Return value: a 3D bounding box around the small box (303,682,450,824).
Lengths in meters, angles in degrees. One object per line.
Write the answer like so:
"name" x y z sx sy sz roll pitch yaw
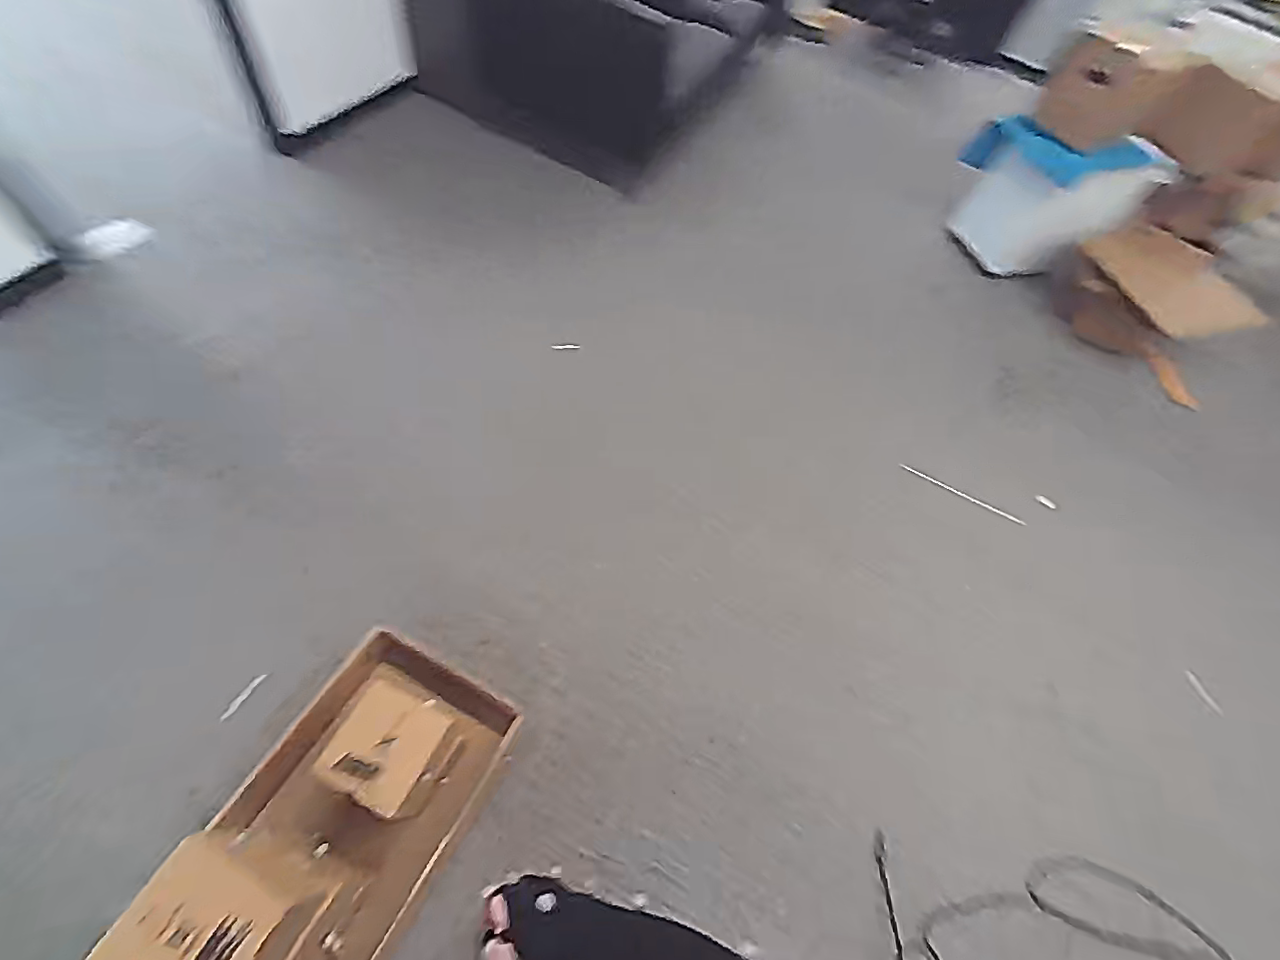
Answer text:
"small box" -0.476 0.512 1.012 0.168 0.176 0.179 27 57 4

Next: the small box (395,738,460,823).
"small box" -0.506 0.596 1.151 0.179 0.176 0.168 30 58 7

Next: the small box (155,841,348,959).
"small box" -0.600 0.711 0.865 0.168 0.176 0.179 27 56 6

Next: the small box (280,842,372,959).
"small box" -0.633 0.797 1.000 0.179 0.176 0.168 28 57 7
